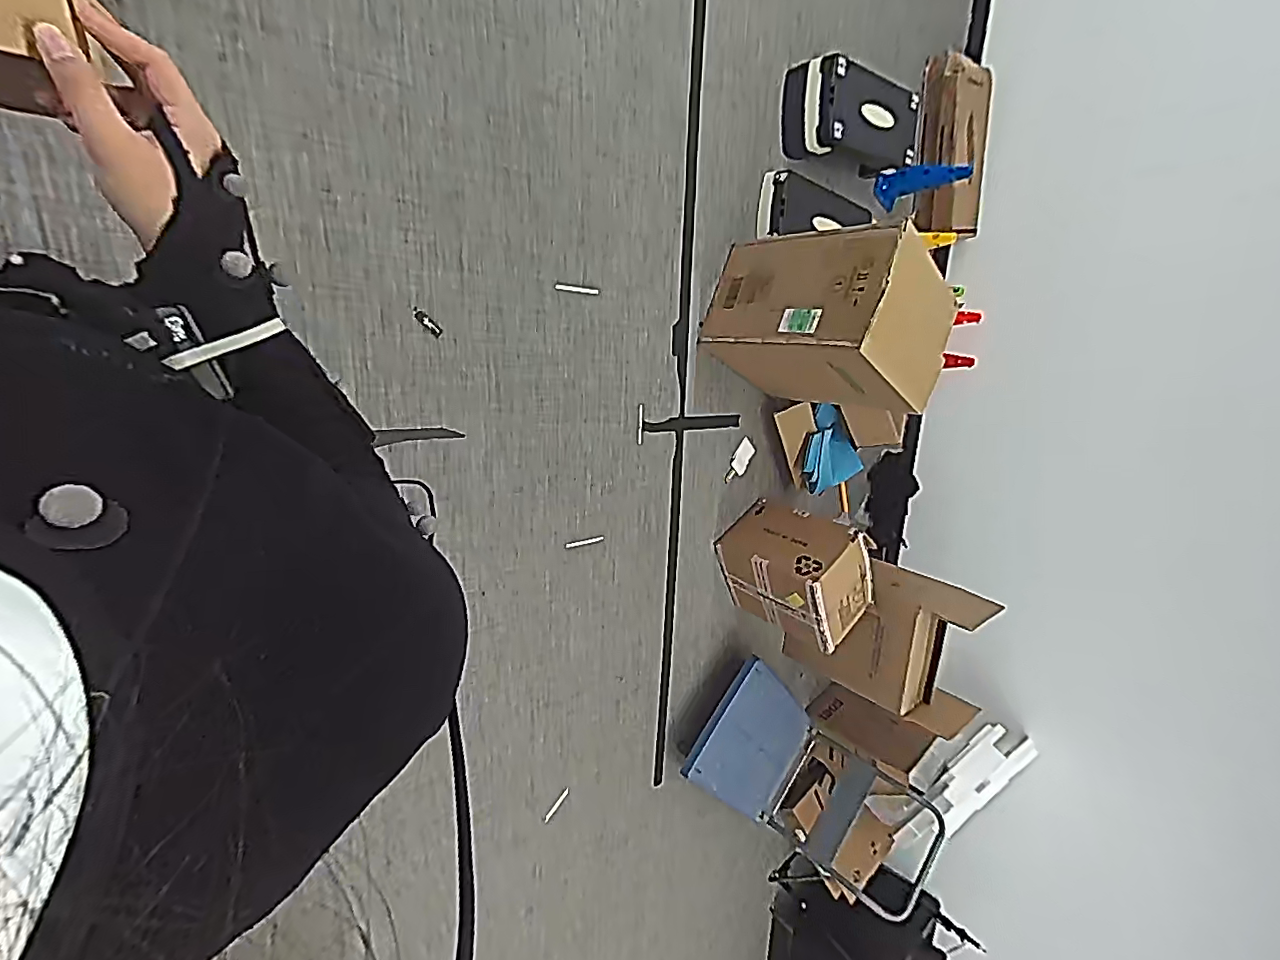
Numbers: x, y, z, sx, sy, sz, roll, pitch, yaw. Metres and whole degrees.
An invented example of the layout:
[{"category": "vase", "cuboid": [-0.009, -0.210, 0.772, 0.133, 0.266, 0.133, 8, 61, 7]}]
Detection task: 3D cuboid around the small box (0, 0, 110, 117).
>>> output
[{"category": "small box", "cuboid": [-0.404, -0.306, 0.268, 0.179, 0.176, 0.168, -10, 114, -39]}]
